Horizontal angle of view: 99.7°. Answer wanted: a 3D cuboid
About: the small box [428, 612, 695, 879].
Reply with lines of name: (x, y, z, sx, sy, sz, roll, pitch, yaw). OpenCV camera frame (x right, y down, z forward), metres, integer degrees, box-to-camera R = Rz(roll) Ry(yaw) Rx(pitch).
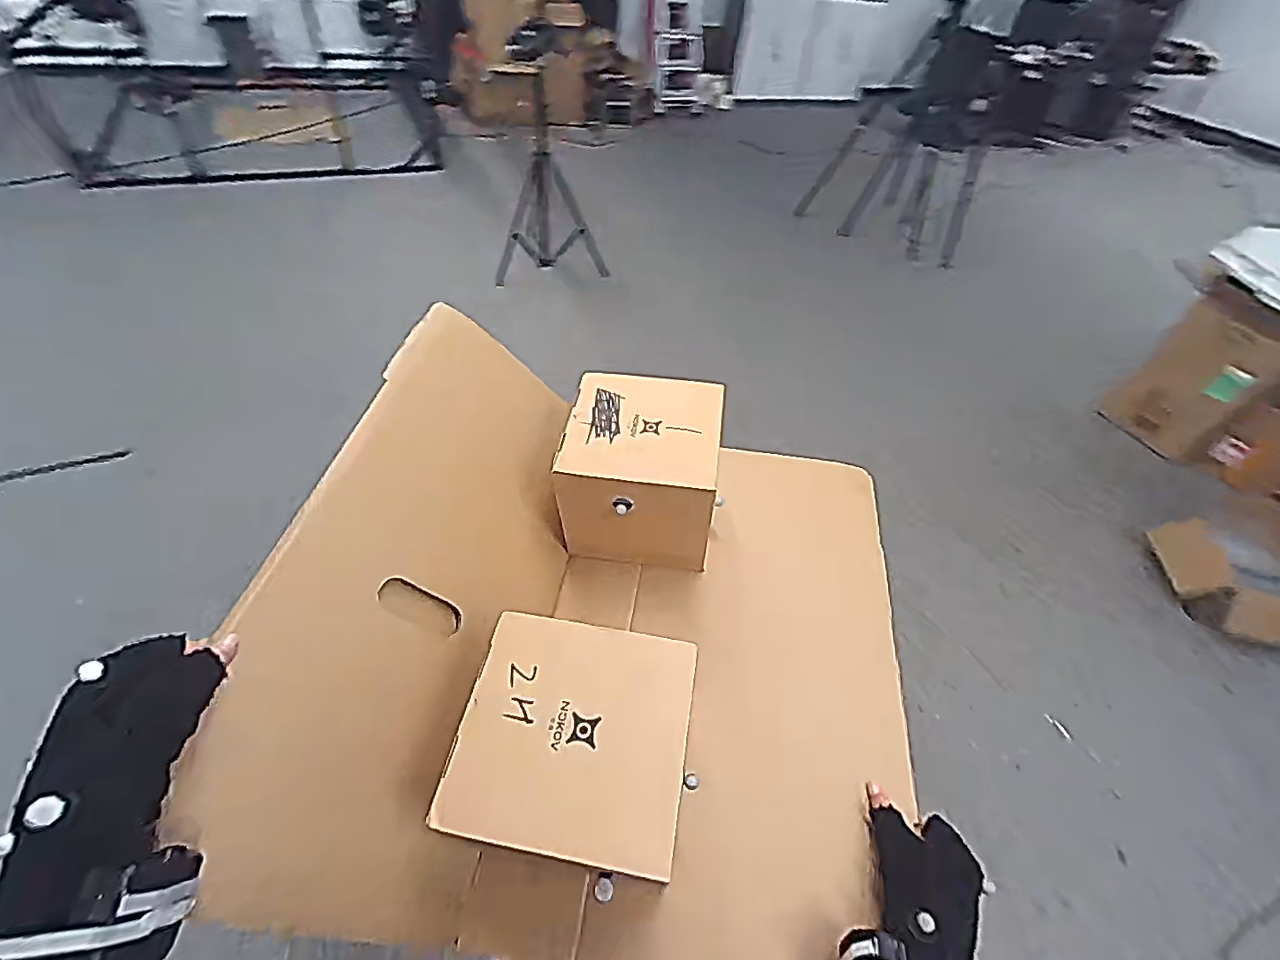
small box: (-0.052, 0.242, 0.487, 0.179, 0.176, 0.168, 8, 52, 7)

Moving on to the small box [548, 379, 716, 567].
small box: (-0.003, -0.006, 0.684, 0.179, 0.176, 0.168, 6, 52, 5)
